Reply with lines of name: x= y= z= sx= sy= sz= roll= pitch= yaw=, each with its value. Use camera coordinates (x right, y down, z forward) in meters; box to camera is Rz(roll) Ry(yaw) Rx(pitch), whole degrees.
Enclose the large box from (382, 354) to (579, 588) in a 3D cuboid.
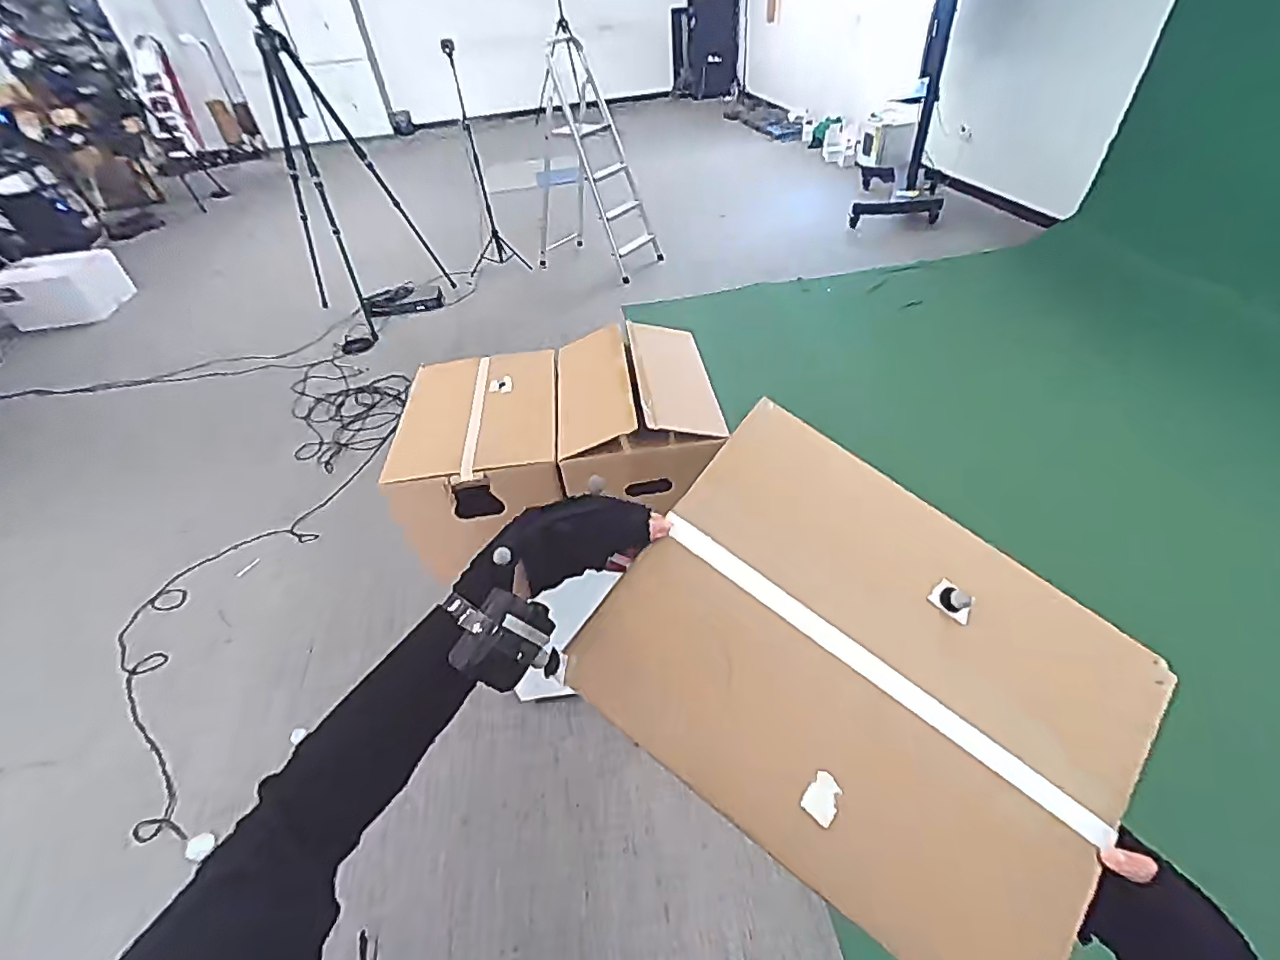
large box: x=-0.319 y=-0.029 z=1.197 sx=0.320 sy=0.320 sz=0.408 roll=-8 pitch=42 yaw=-2
